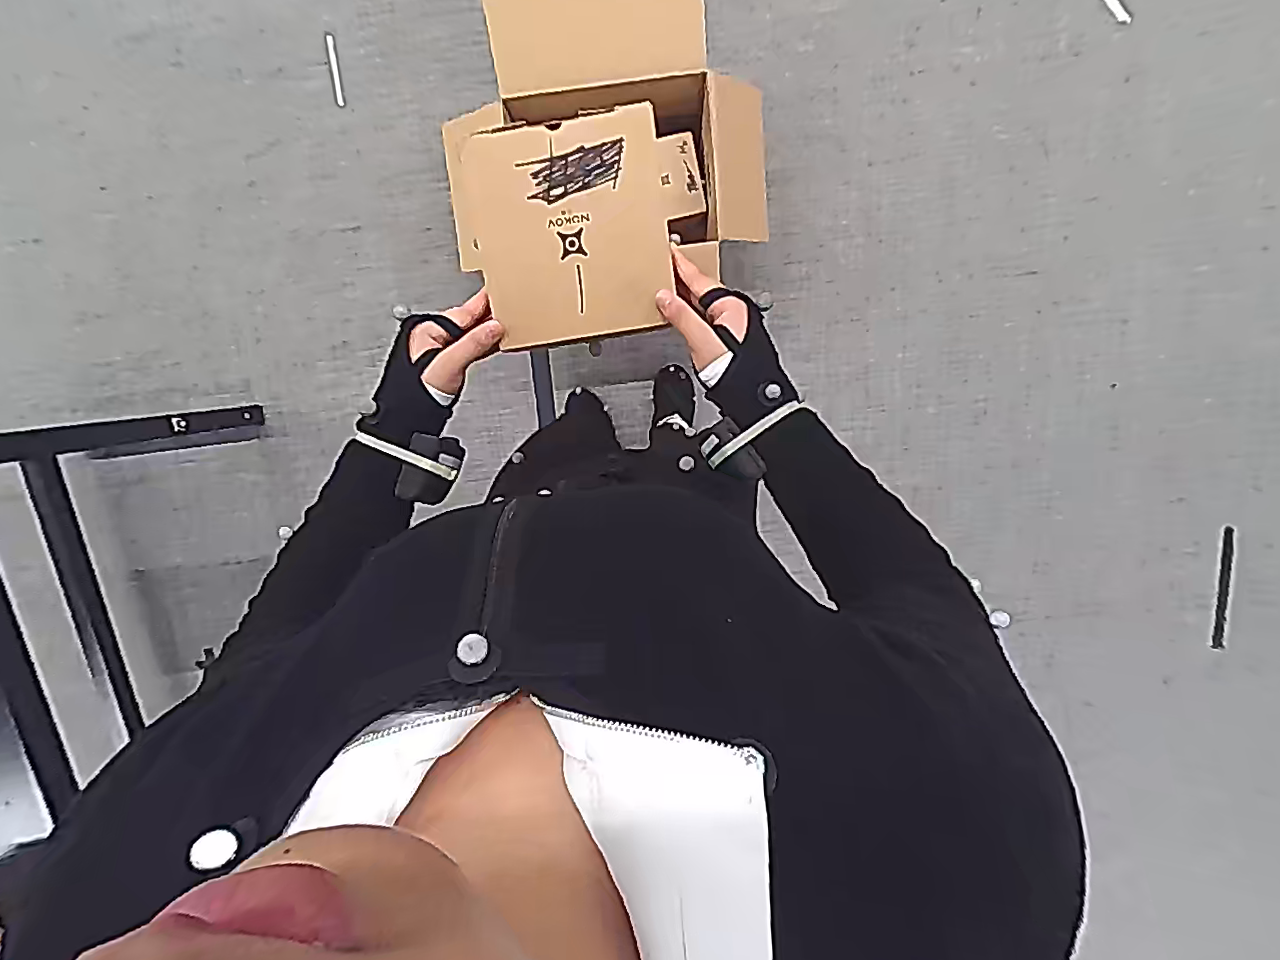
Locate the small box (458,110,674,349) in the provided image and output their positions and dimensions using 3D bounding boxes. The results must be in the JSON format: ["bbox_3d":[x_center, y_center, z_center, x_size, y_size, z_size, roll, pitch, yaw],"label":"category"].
[{"bbox_3d":[-0.062,-0.231,0.545,0.168,0.176,0.179,-8,104,3],"label":"small box"}]
